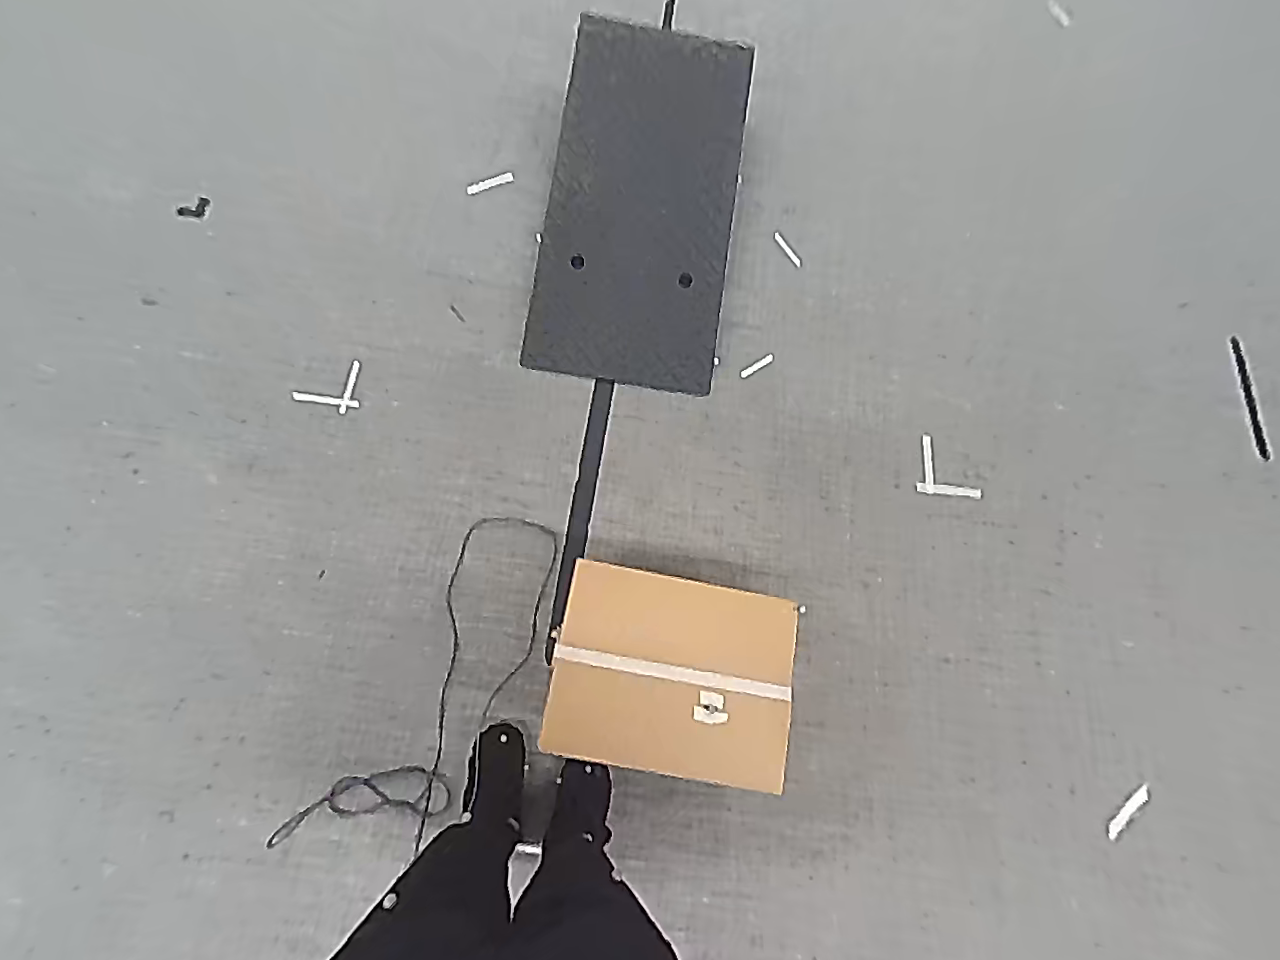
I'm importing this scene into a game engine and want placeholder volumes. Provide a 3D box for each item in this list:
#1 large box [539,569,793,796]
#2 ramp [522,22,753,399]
[{"bbox_3d":[0.037,0.378,1.055,0.408,0.320,0.320,12,73,-4],"label":"large box"},{"bbox_3d":[0.010,-0.731,1.447,0.509,0.206,0.991,8,73,-5],"label":"ramp"}]
